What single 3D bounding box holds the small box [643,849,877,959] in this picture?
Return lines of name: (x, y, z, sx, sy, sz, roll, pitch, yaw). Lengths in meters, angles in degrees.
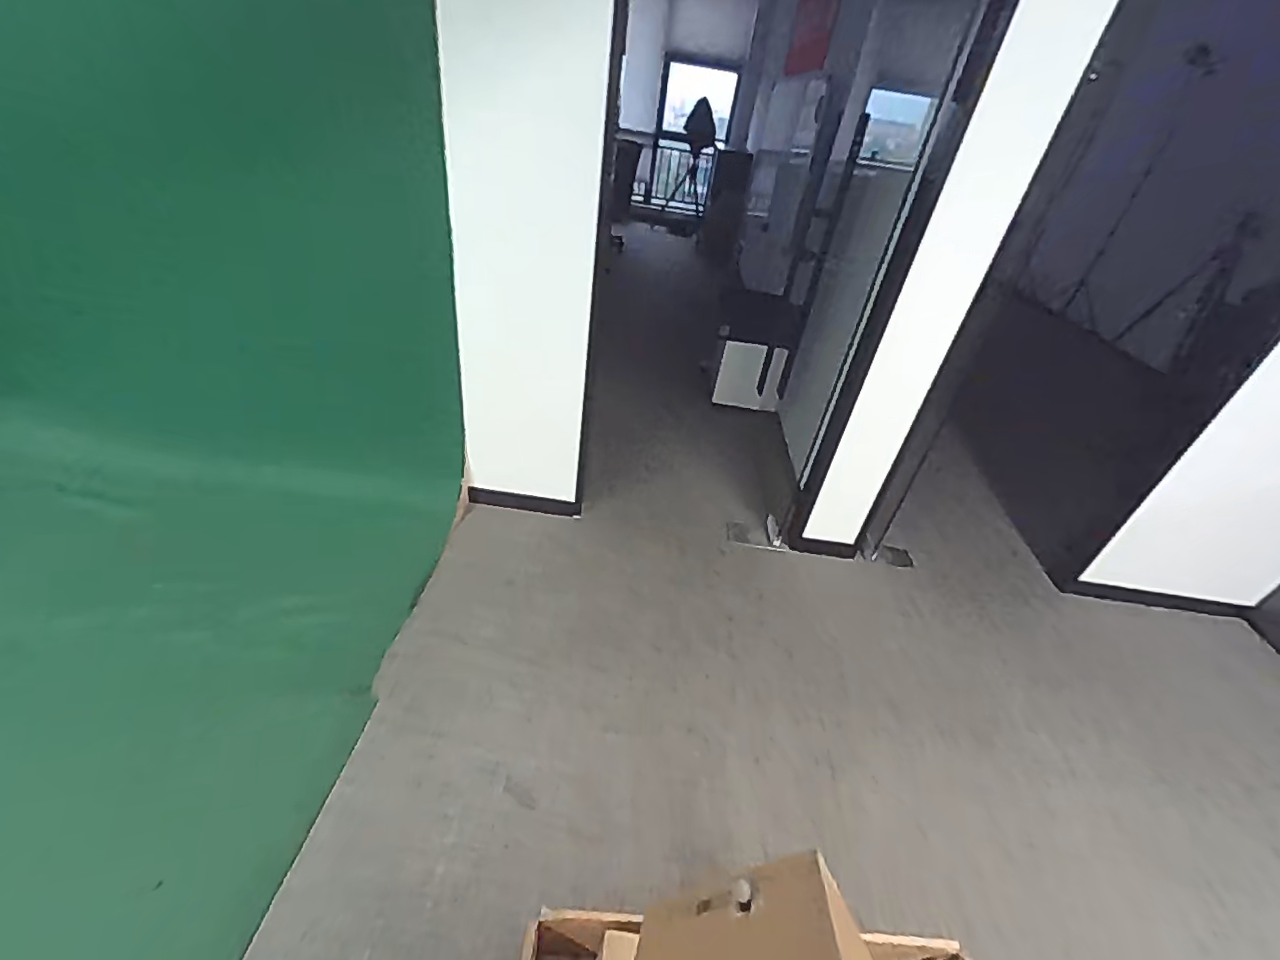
small box: (0.103, 0.413, 0.377, 0.168, 0.179, 0.176, -25, -7, 8)
